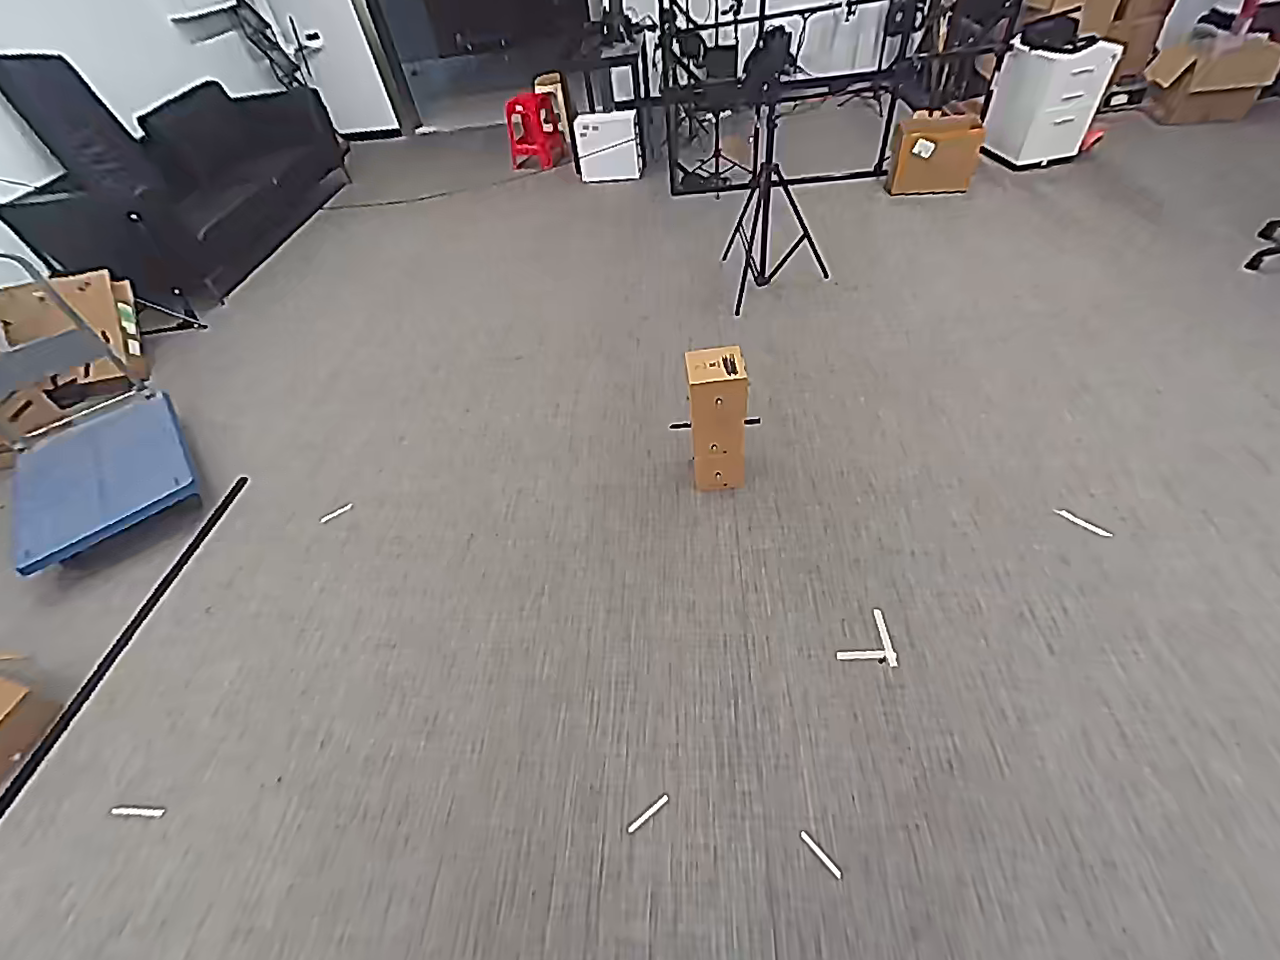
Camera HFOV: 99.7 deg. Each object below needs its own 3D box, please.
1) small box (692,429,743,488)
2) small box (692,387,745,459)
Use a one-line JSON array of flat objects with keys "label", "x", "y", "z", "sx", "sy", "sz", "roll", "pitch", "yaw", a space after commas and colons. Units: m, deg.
[{"label": "small box", "x": 0.281, "y": -0.082, "z": 1.960, "sx": 0.168, "sy": 0.176, "sz": 0.179, "roll": -5, "pitch": 47, "yaw": 4}, {"label": "small box", "x": 0.262, "y": -0.192, "z": 1.842, "sx": 0.168, "sy": 0.176, "sz": 0.179, "roll": -4, "pitch": 48, "yaw": 5}]
